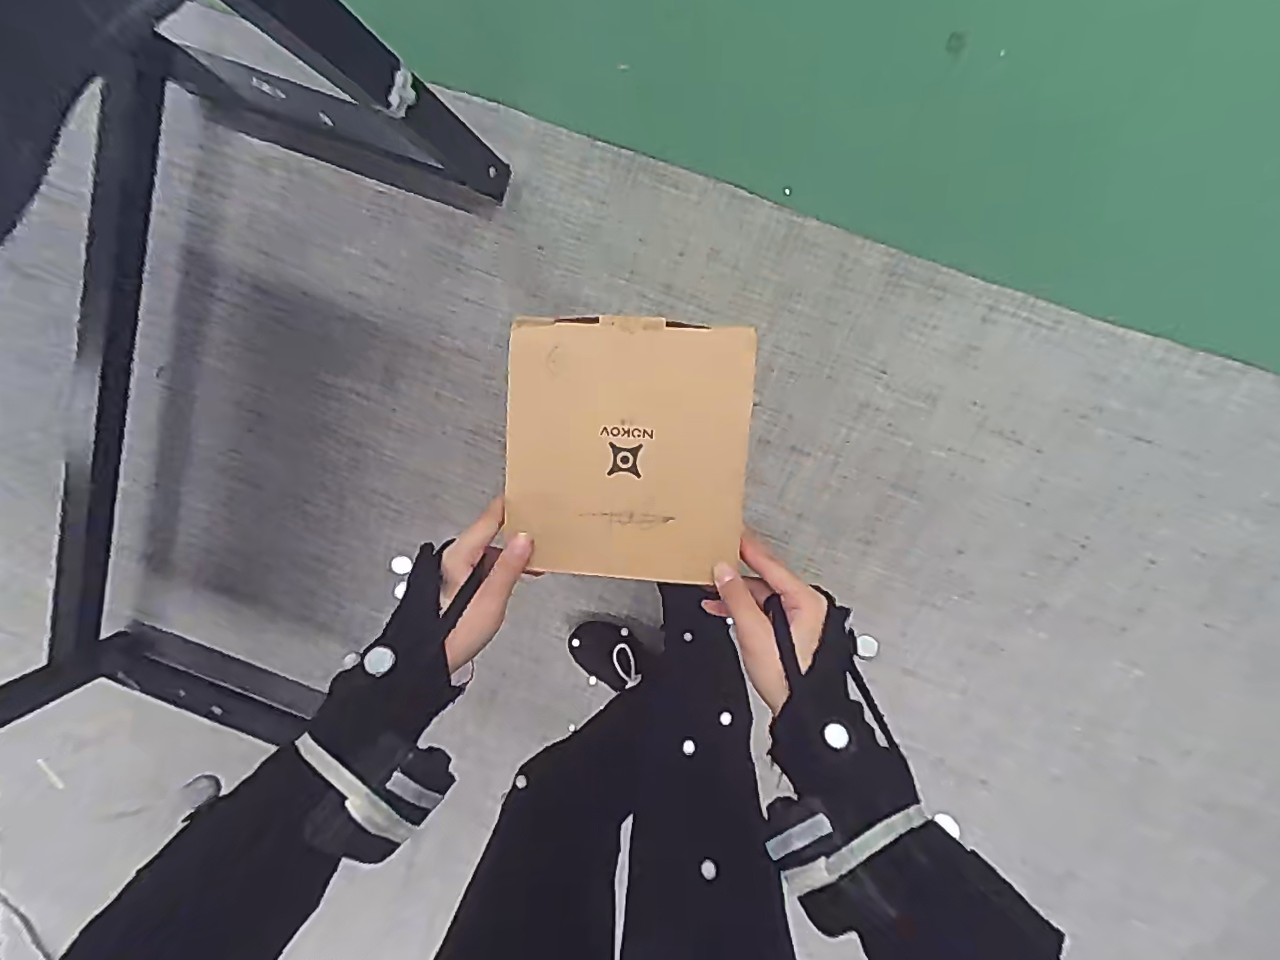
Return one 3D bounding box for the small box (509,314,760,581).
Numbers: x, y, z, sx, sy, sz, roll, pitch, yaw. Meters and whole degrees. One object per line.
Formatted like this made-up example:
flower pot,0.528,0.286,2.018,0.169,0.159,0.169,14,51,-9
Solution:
small box,-0.001,-0.031,0.445,0.168,0.176,0.179,3,99,5
